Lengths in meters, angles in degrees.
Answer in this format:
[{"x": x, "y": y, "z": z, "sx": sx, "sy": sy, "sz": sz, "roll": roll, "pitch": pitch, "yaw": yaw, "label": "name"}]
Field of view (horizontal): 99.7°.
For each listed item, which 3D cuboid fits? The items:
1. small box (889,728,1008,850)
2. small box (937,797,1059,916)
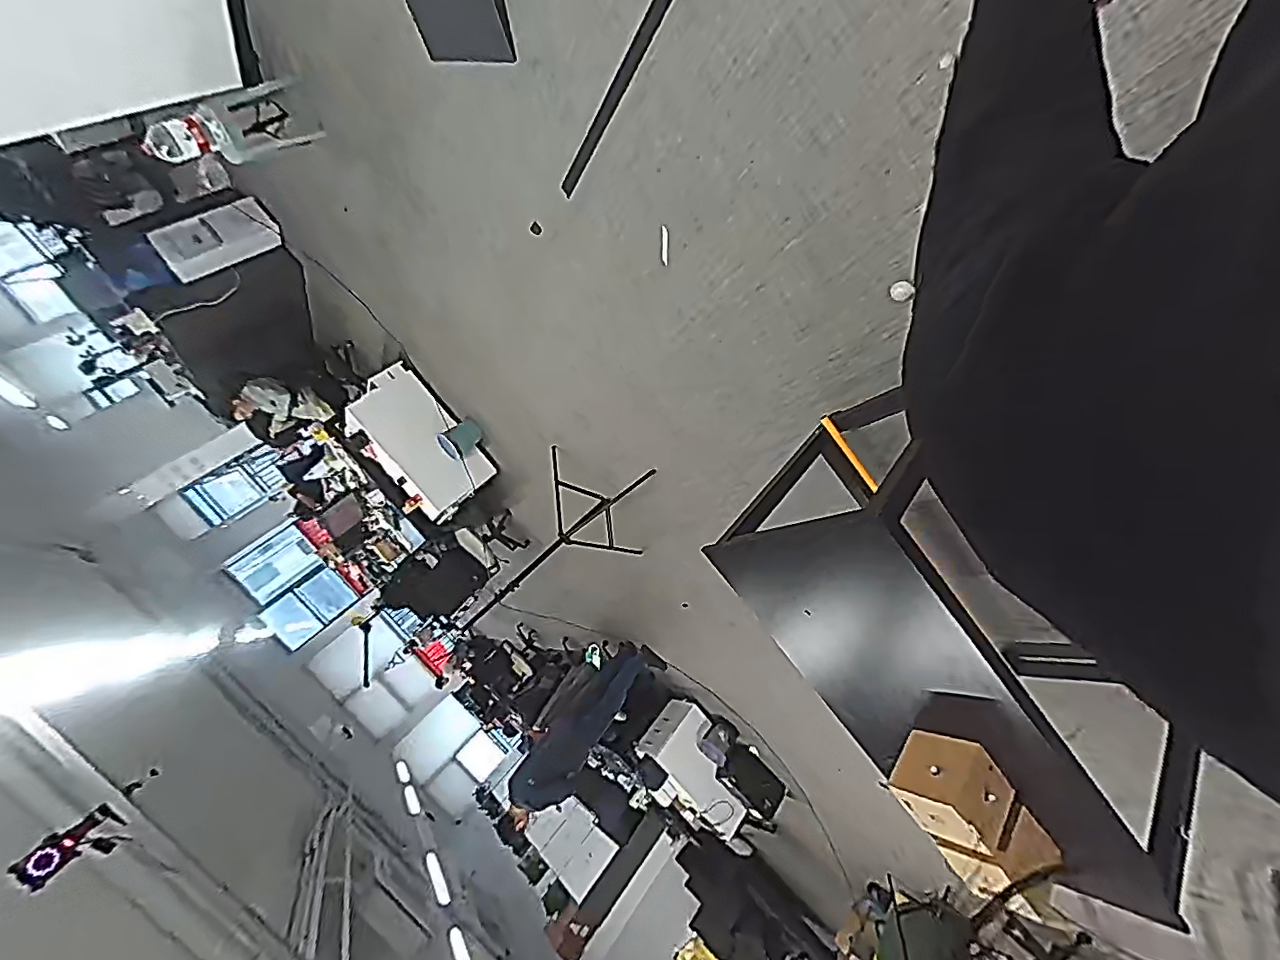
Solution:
[{"x": 0.745, "y": 0.726, "z": 1.294, "sx": 0.168, "sy": 0.176, "sz": 0.179, "roll": 51, "pitch": 150, "yaw": -8, "label": "small box"}, {"x": 0.878, "y": 0.893, "z": 1.322, "sx": 0.179, "sy": 0.176, "sz": 0.168, "roll": 51, "pitch": 151, "yaw": -6, "label": "small box"}]
